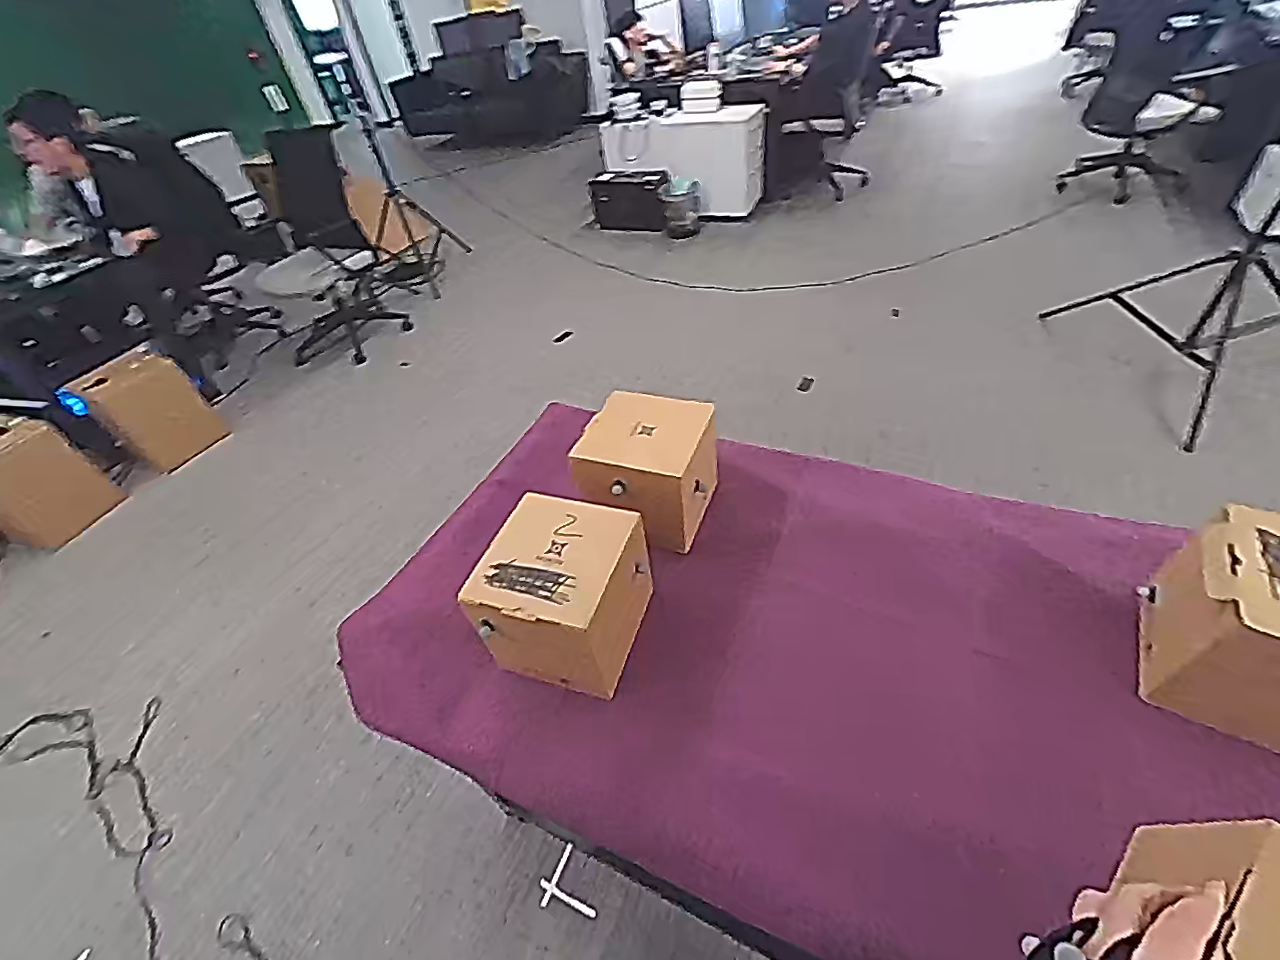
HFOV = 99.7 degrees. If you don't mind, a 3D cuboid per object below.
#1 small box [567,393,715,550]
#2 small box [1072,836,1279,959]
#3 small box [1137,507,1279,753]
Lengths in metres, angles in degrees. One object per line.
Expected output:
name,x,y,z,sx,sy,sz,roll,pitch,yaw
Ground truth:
small box,0.013,-0.011,0.849,0.179,0.176,0.168,11,47,20
small box,0.381,0.332,0.298,0.179,0.176,0.168,32,72,34
small box,0.657,0.162,0.555,0.179,0.176,0.168,20,53,26
